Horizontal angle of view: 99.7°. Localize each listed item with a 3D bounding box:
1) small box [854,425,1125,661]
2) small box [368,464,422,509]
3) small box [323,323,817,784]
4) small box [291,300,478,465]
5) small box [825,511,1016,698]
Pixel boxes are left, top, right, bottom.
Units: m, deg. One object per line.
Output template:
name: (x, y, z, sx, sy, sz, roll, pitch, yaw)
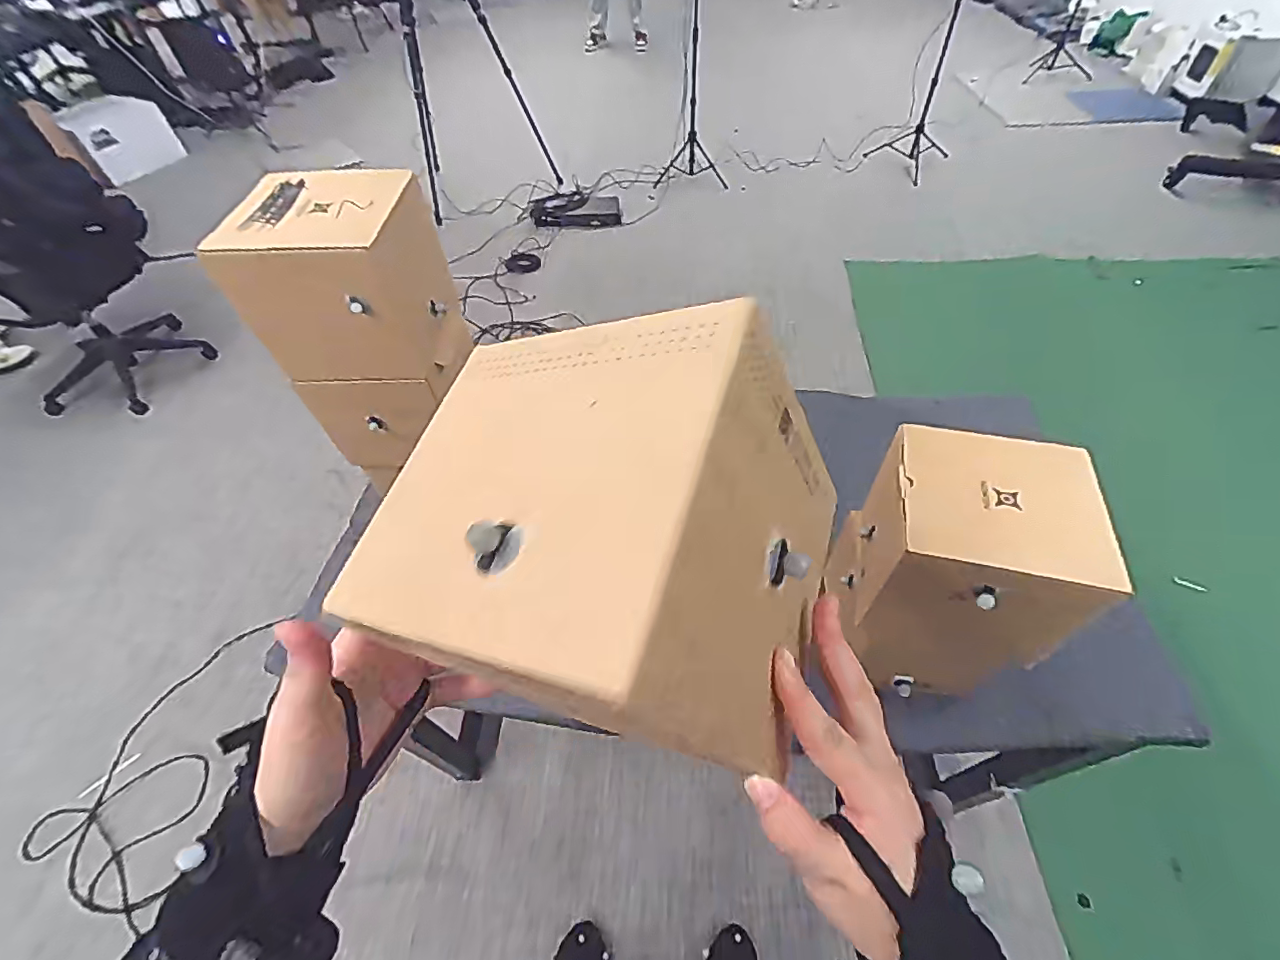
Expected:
small box: (0.337, 0.069, 0.564, 0.179, 0.176, 0.168, 10, 52, 13)
small box: (-0.328, -0.045, 0.906, 0.168, 0.176, 0.179, -1, 52, 2)
small box: (-0.015, 0.037, 0.290, 0.179, 0.168, 0.176, 2, 60, 36)
small box: (-0.335, -0.133, 0.766, 0.179, 0.176, 0.168, -1, 53, 3)
small box: (0.347, 0.161, 0.698, 0.168, 0.176, 0.179, 2, 51, 6)
